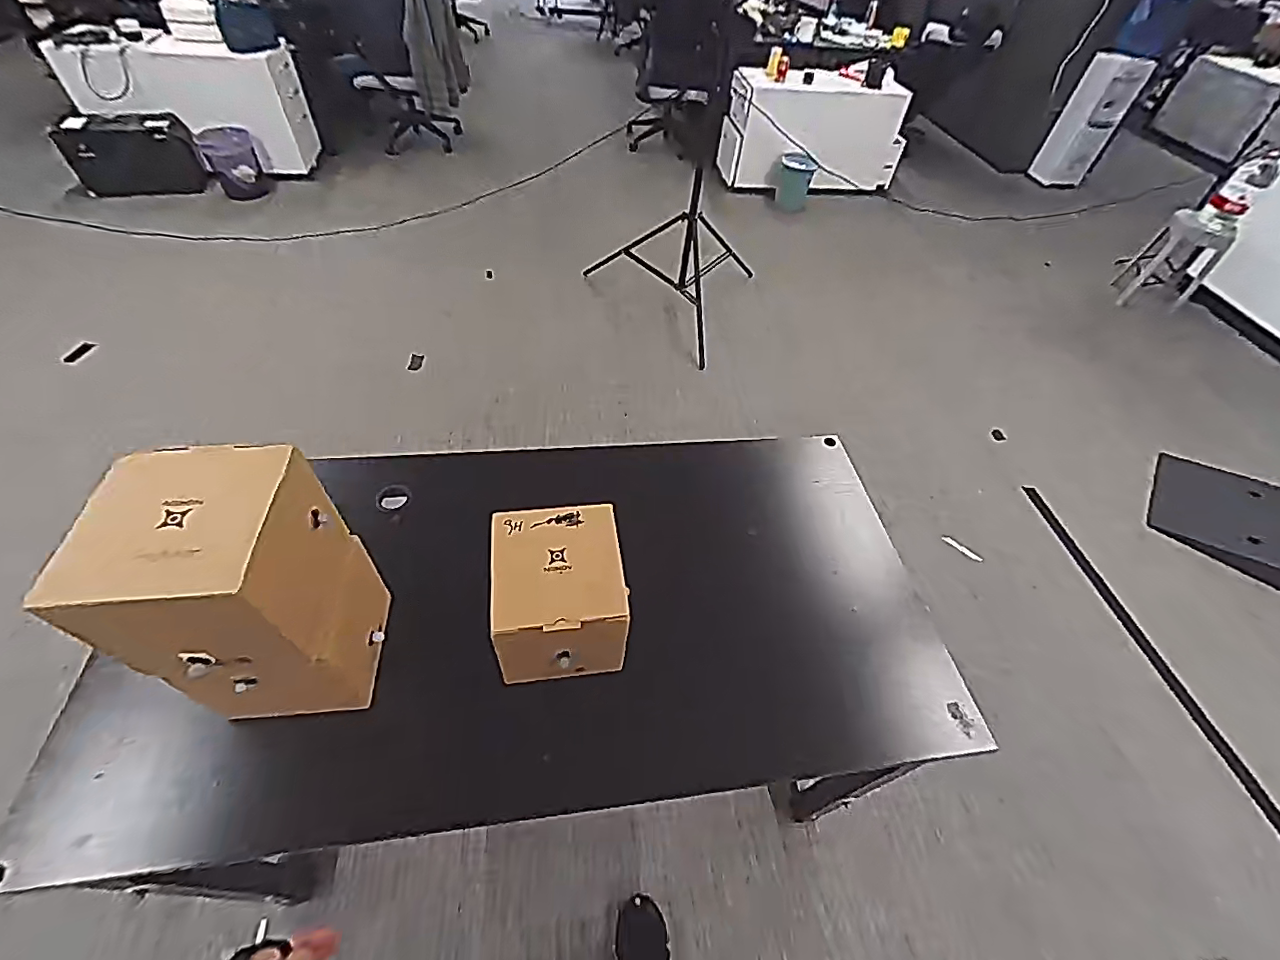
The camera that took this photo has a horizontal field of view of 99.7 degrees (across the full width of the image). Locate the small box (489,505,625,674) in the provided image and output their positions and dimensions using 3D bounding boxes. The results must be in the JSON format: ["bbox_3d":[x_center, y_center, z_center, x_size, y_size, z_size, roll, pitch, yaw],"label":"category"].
[{"bbox_3d":[-0.113,0.158,0.755,0.168,0.176,0.179,-4,51,-9],"label":"small box"}]

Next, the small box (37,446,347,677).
[{"bbox_3d":[-0.433,0.085,0.568,0.168,0.176,0.179,-4,51,-7],"label":"small box"}]

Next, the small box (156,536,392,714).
[{"bbox_3d":[-0.443,0.188,0.693,0.179,0.176,0.168,-2,50,-8],"label":"small box"}]
